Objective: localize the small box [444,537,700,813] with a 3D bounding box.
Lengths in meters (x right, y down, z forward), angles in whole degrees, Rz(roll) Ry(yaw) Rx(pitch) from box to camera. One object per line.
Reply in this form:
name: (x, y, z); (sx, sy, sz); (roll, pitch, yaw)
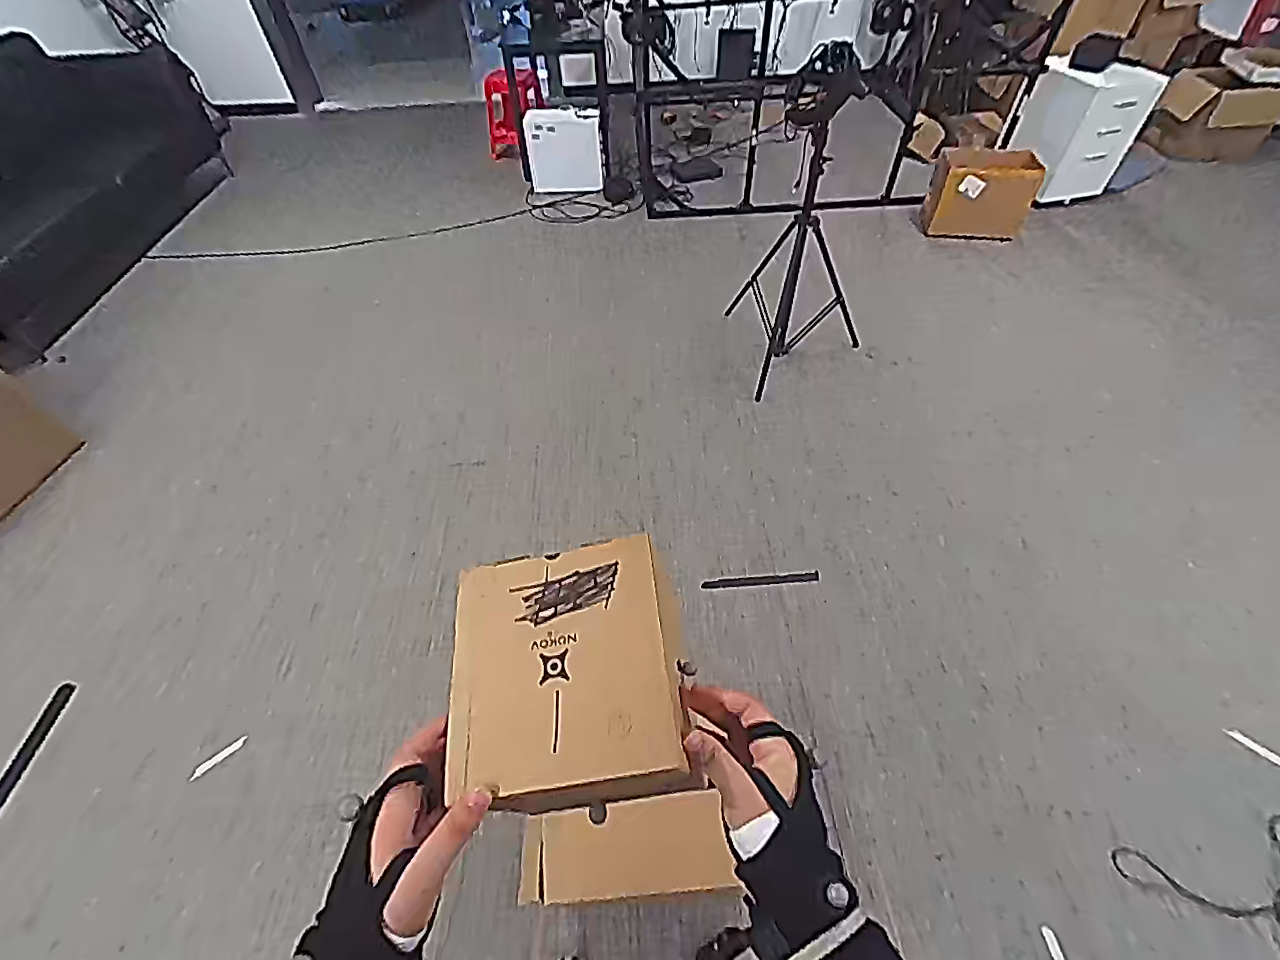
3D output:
small box: (-0.047, 0.175, 0.471); (0.168, 0.176, 0.179); (-12, 55, 5)
